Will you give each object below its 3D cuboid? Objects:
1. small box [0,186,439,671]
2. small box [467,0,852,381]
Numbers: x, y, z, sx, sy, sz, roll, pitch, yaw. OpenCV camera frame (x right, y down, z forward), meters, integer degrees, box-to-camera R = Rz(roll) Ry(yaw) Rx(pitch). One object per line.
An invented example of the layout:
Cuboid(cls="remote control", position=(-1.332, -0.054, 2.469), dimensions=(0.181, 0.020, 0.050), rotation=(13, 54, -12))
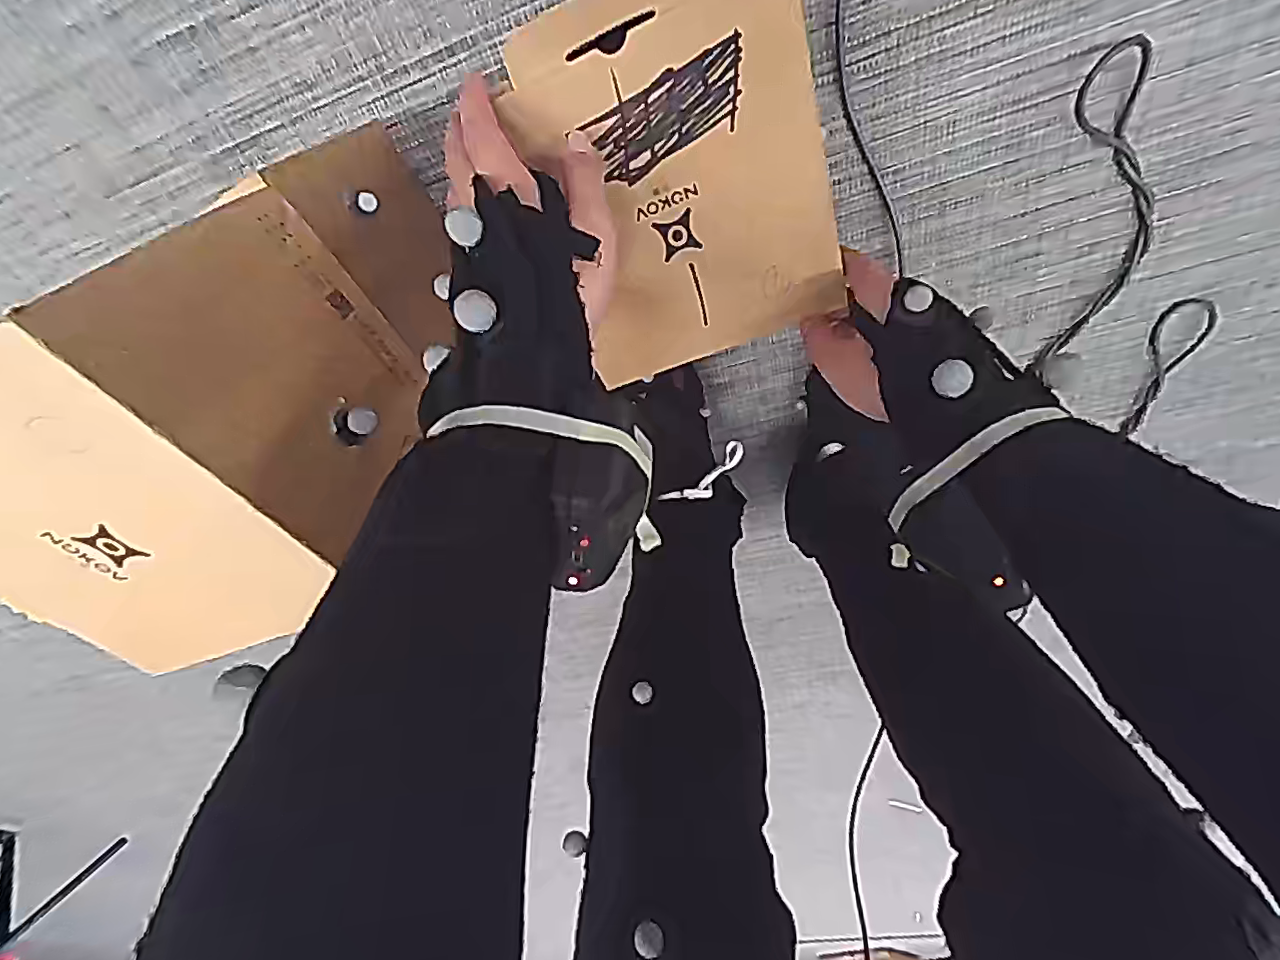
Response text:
Cuboid(cls="small box", position=(-0.235, -0.027, 0.294), dimensions=(0.179, 0.176, 0.168), rotation=(-19, 128, 18))
Cuboid(cls="small box", position=(0.021, -0.200, 0.351), dimensions=(0.168, 0.176, 0.179), rotation=(-16, 130, 16))
